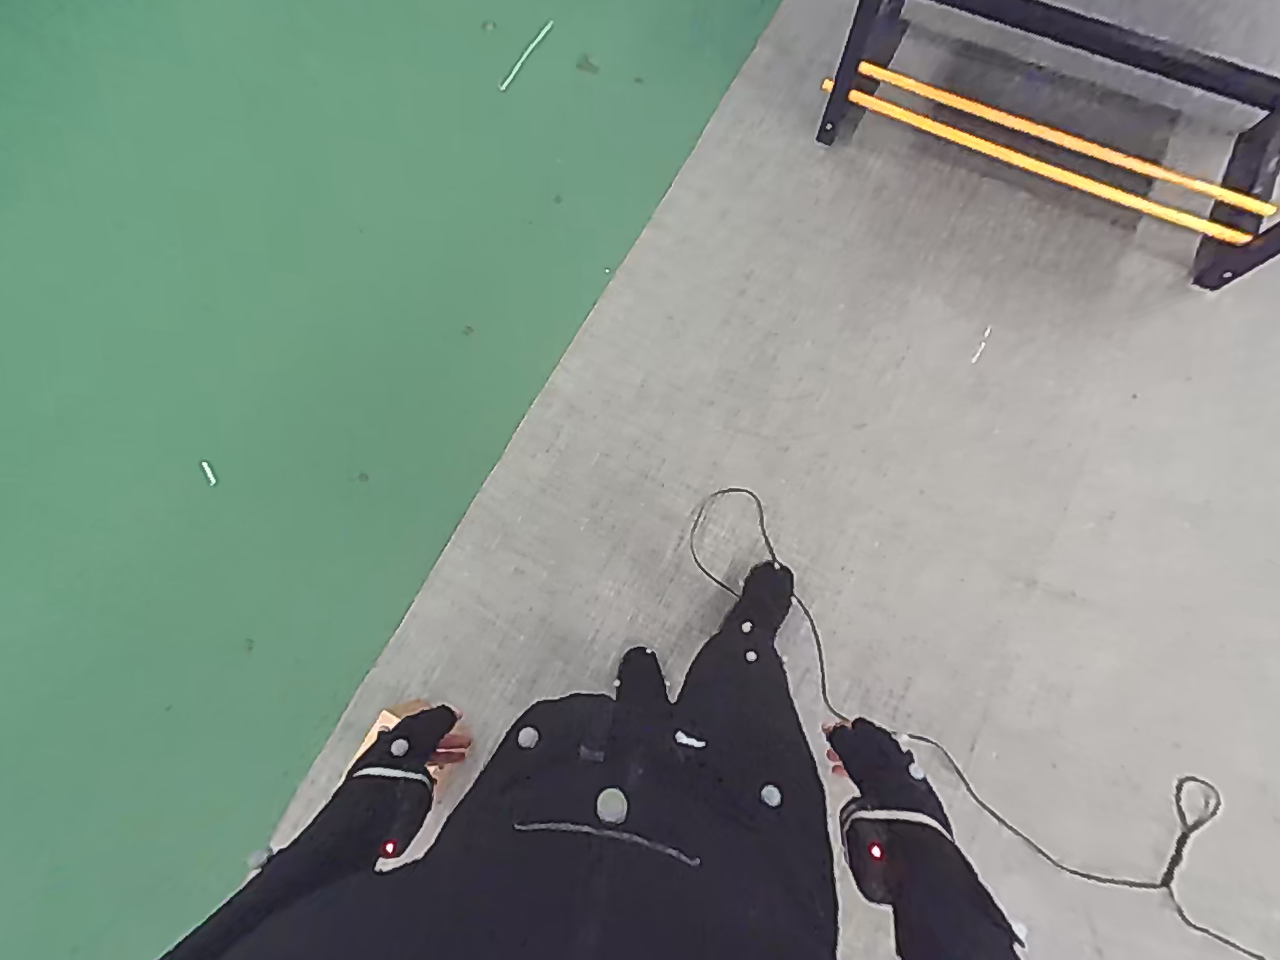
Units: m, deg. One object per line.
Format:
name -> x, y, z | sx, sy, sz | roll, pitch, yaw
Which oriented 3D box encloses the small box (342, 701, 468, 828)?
small box -> -0.507, 0.618, 1.204 | 0.168, 0.176, 0.179 | 27, 79, 9
